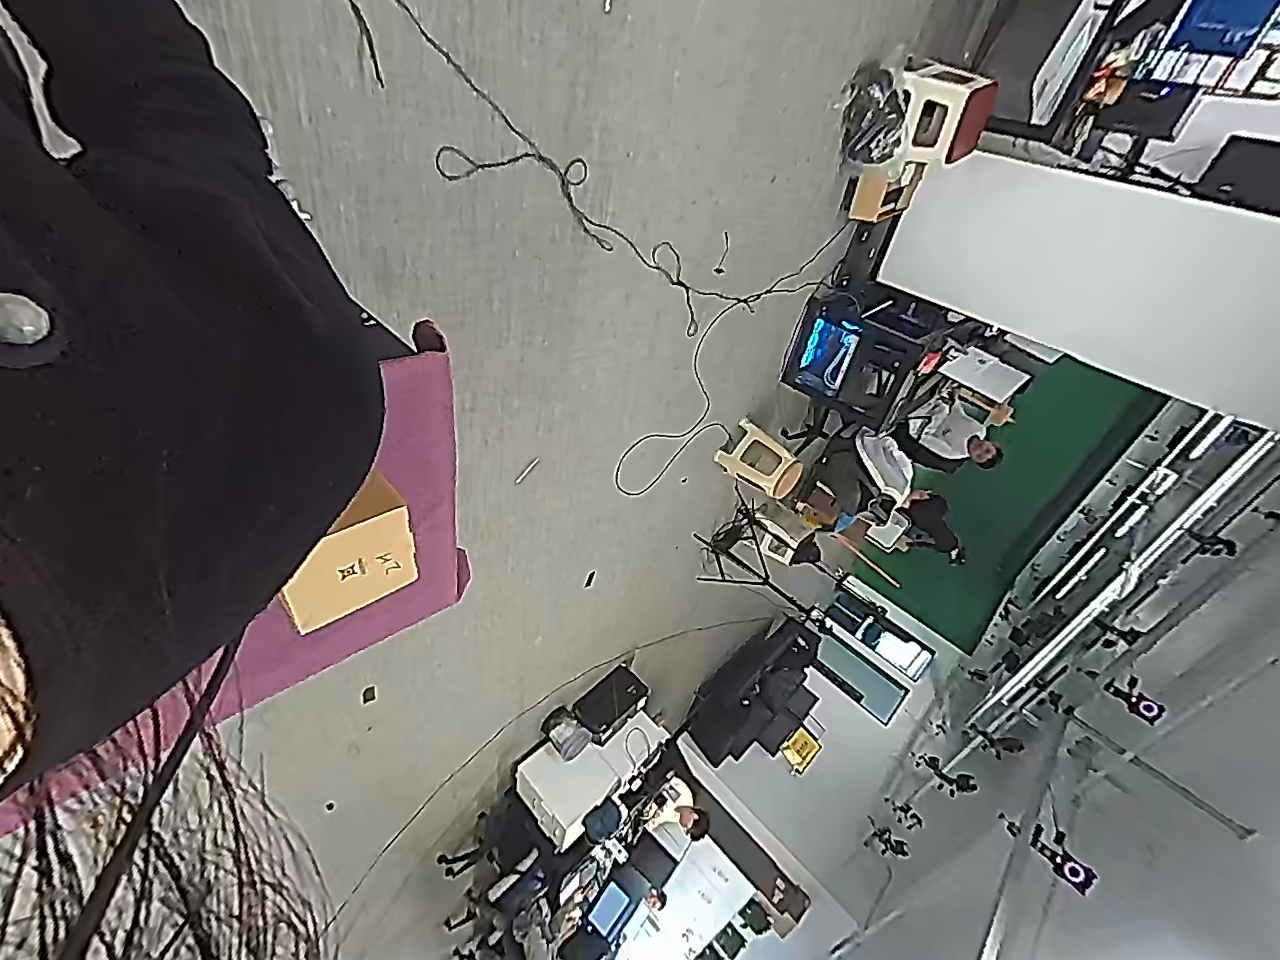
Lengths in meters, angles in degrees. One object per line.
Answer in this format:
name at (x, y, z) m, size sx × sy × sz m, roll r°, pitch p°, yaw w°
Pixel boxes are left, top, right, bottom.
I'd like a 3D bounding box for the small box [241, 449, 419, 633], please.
small box at (-0.457, 0.082, 0.801) m, size 0.179 × 0.176 × 0.168 m, roll -27°, pitch 143°, yaw -38°
